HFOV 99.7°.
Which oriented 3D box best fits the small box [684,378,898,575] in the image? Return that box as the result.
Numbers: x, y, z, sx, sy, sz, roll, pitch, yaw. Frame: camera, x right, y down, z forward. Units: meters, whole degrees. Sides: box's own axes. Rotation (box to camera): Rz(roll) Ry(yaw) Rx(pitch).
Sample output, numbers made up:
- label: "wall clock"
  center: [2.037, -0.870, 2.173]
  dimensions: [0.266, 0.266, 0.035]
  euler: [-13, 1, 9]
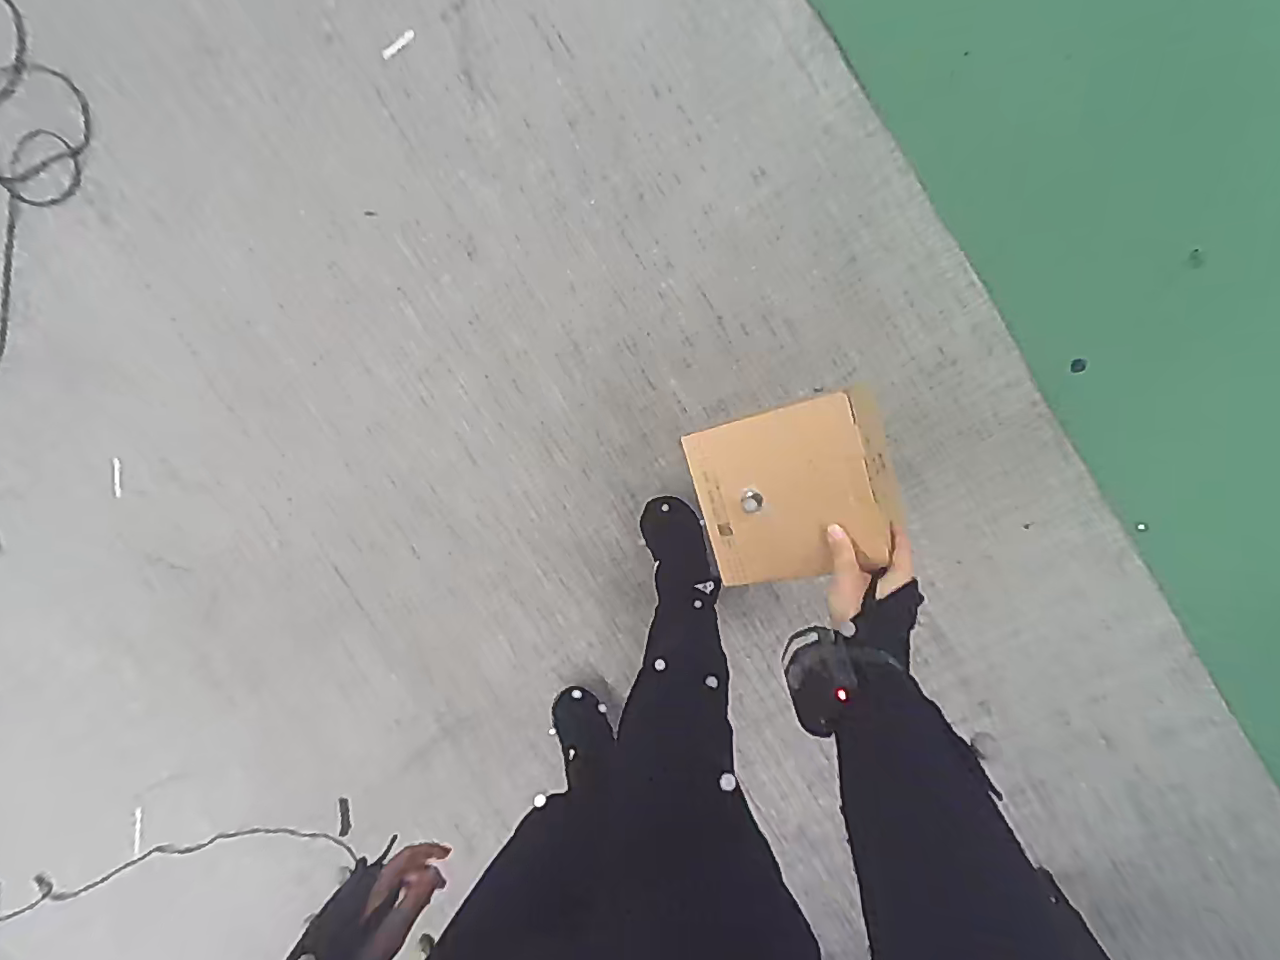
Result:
- label: "small box"
  center: [0.171, -0.007, 0.599]
  dimensions: [0.176, 0.179, 0.168]
  euler: [-15, 95, 32]
